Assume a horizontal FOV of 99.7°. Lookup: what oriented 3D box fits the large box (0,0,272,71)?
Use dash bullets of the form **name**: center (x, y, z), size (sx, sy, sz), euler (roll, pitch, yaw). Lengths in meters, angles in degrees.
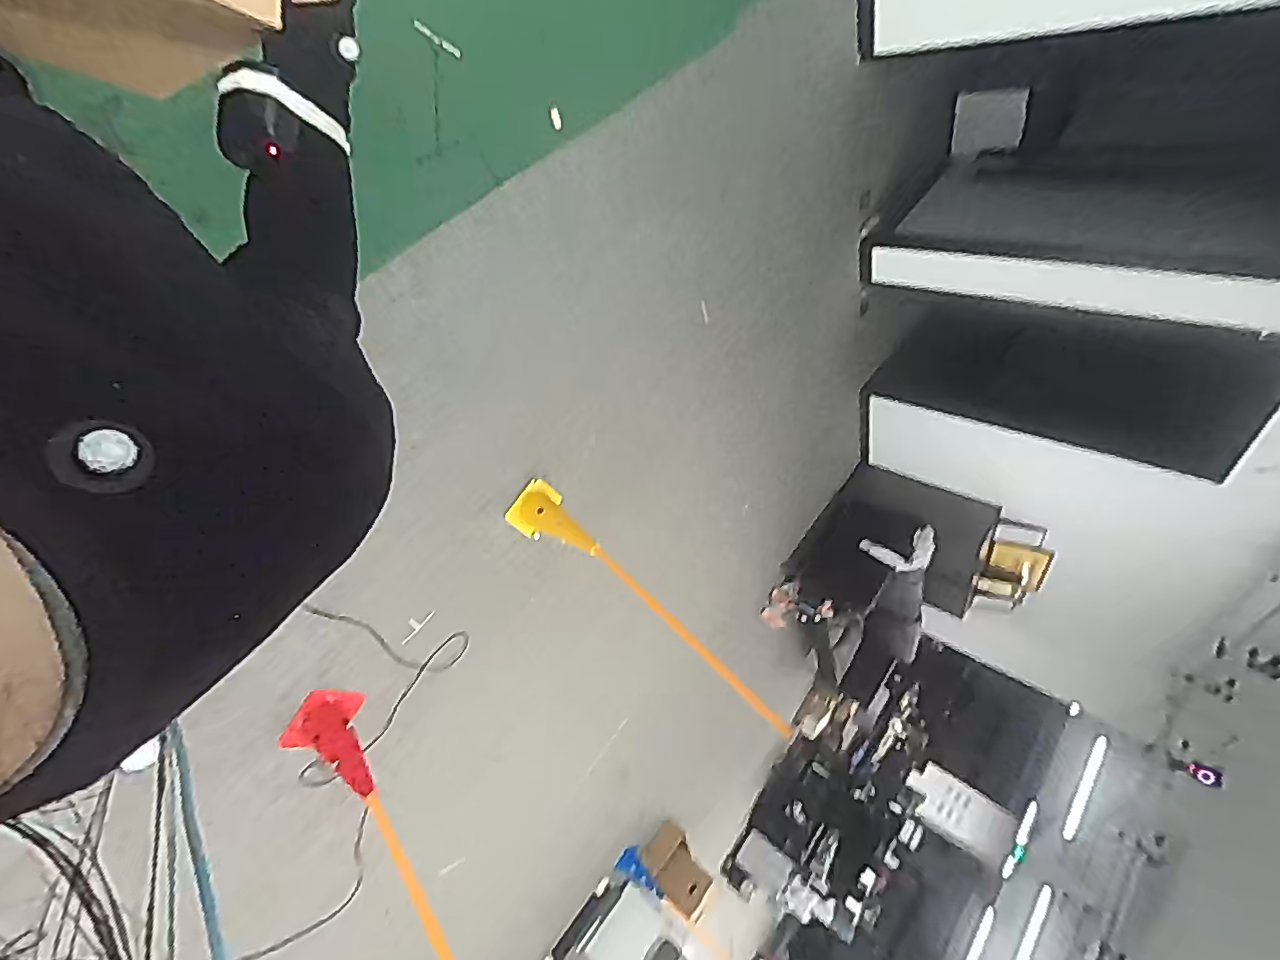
- **large box**: center (-0.499, -0.507, 0.303), size (0.408, 0.320, 0.320), euler (-13, 114, -51)
